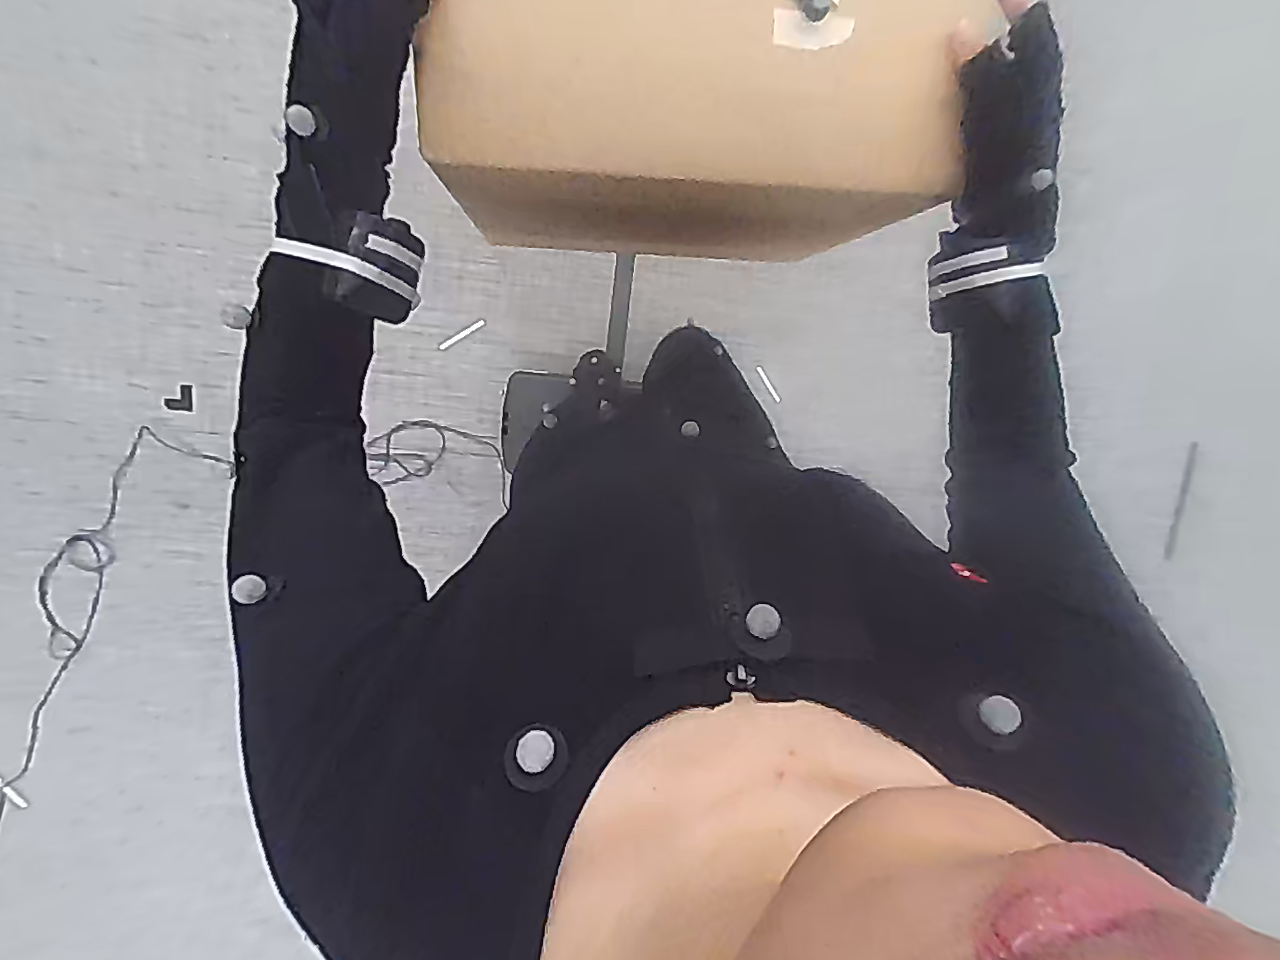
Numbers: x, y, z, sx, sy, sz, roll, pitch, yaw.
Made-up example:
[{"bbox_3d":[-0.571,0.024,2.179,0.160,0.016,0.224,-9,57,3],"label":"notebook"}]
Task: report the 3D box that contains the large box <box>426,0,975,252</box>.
[{"bbox_3d":[0.032,-0.412,0.515,0.408,0.320,0.320,-1,104,-8],"label":"large box"}]
